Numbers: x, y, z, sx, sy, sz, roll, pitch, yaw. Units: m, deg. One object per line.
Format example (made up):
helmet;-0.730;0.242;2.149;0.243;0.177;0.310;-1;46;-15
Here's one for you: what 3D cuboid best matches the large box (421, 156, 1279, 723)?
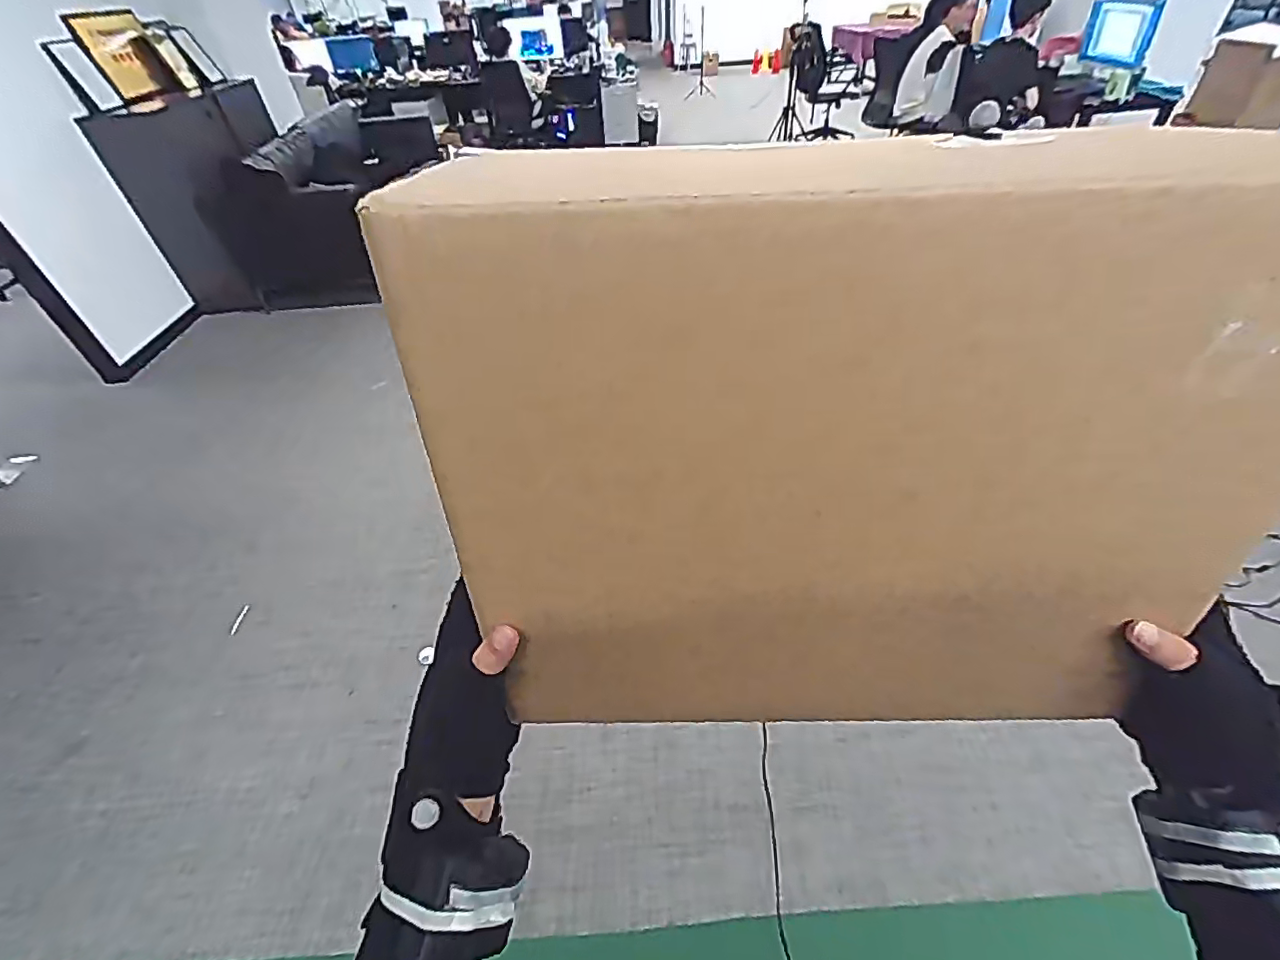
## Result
large box;0.114;-0.051;0.399;0.408;0.320;0.320;-1;34;0
